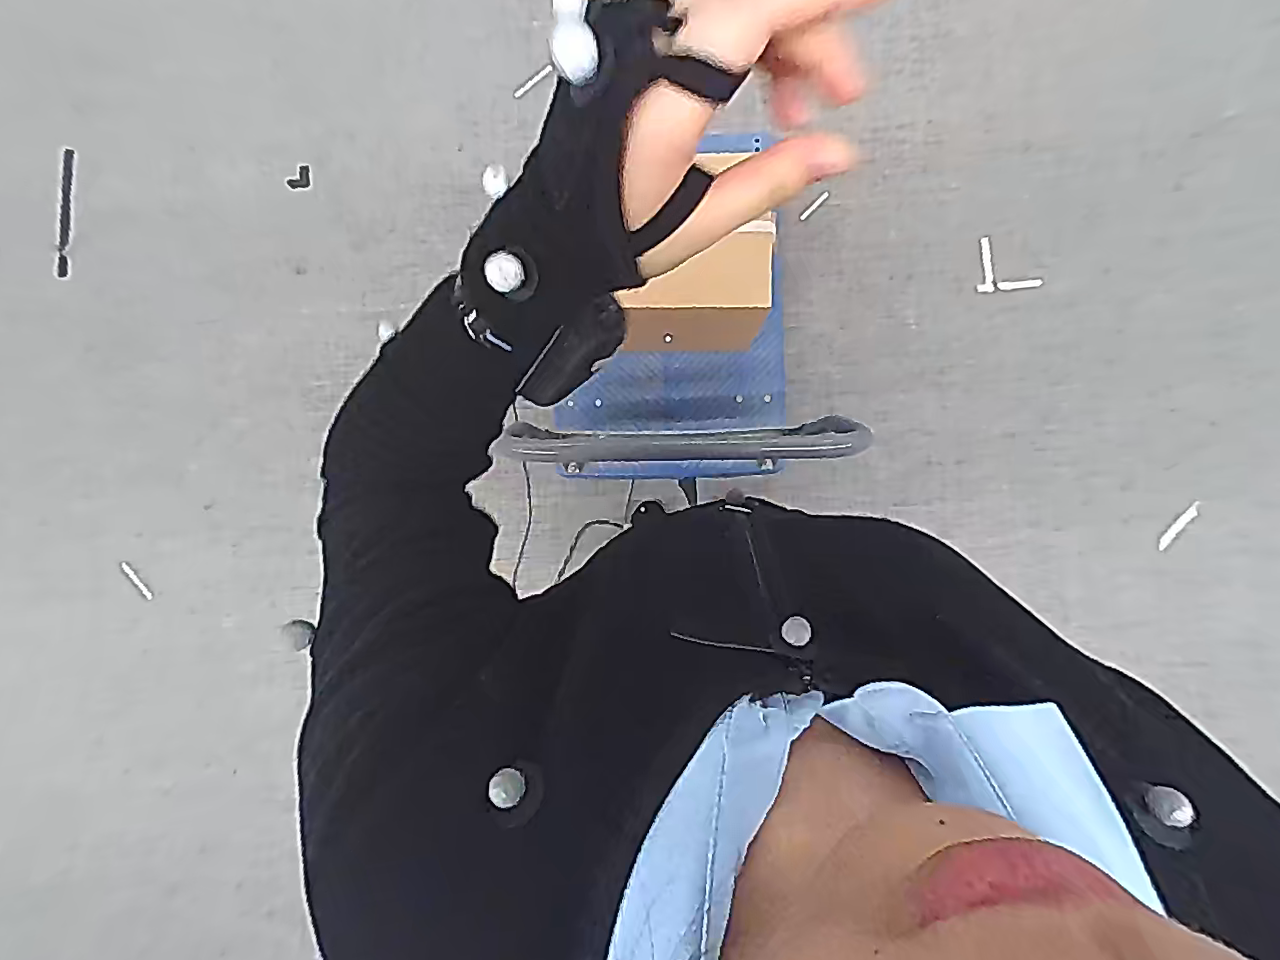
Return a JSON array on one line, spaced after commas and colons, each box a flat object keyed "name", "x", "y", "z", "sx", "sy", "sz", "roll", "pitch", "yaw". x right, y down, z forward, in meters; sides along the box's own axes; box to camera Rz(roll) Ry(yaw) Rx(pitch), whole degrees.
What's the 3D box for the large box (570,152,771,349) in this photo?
[{"name": "large box", "x": 0.068, "y": -0.492, "z": 1.228, "sx": 0.408, "sy": 0.320, "sz": 0.320, "roll": 0, "pitch": 86, "yaw": 3}]
